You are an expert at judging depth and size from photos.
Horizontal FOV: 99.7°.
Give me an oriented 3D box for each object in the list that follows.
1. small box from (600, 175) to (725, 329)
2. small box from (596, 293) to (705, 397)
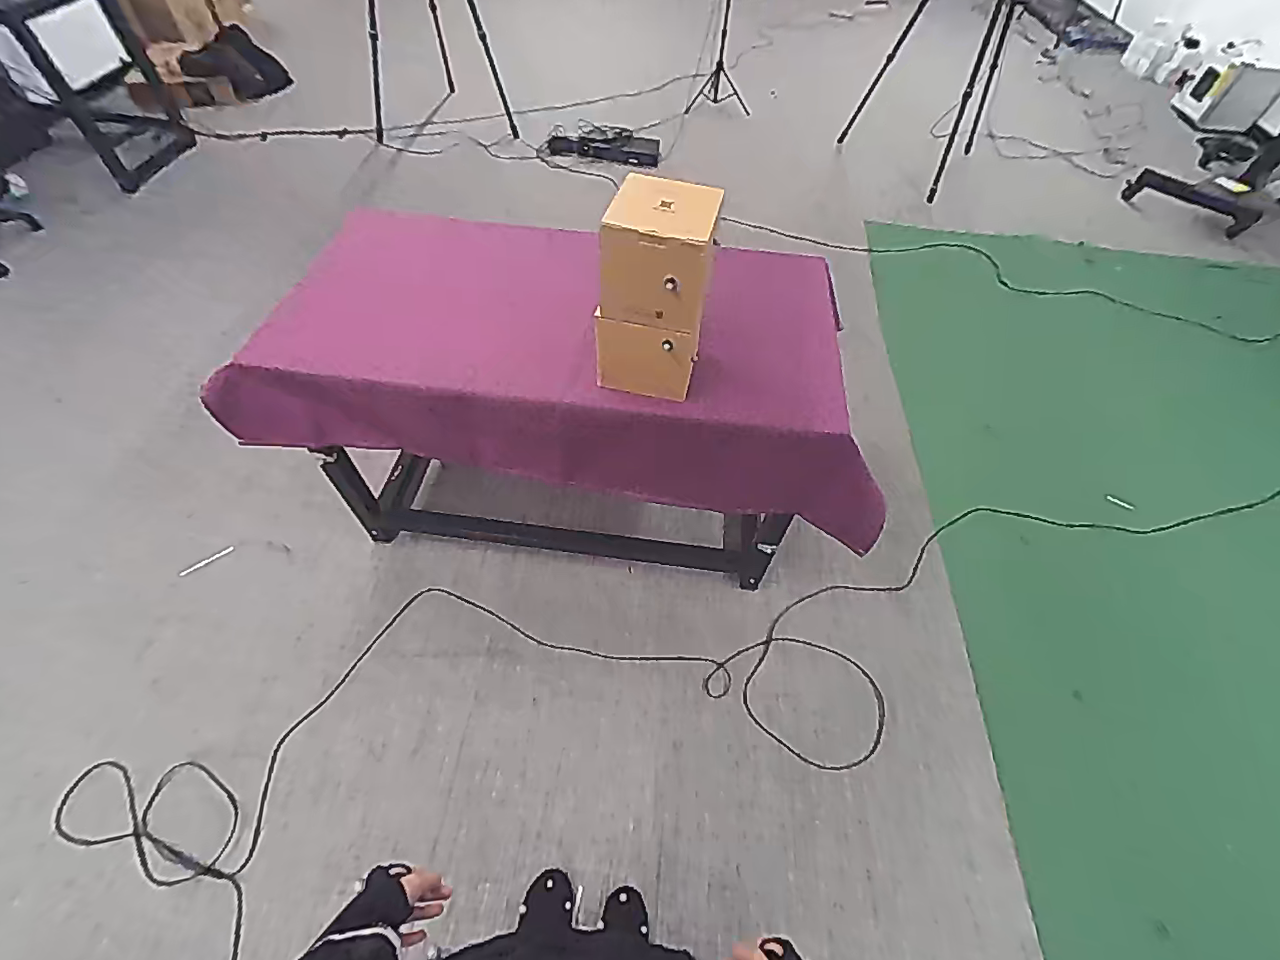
[{"bbox_3d":[0.036,-0.383,0.919,0.168,0.176,0.179,14,53,6],"label":"small box"},{"bbox_3d":[0.020,-0.283,1.047,0.179,0.176,0.168,12,53,5],"label":"small box"}]
